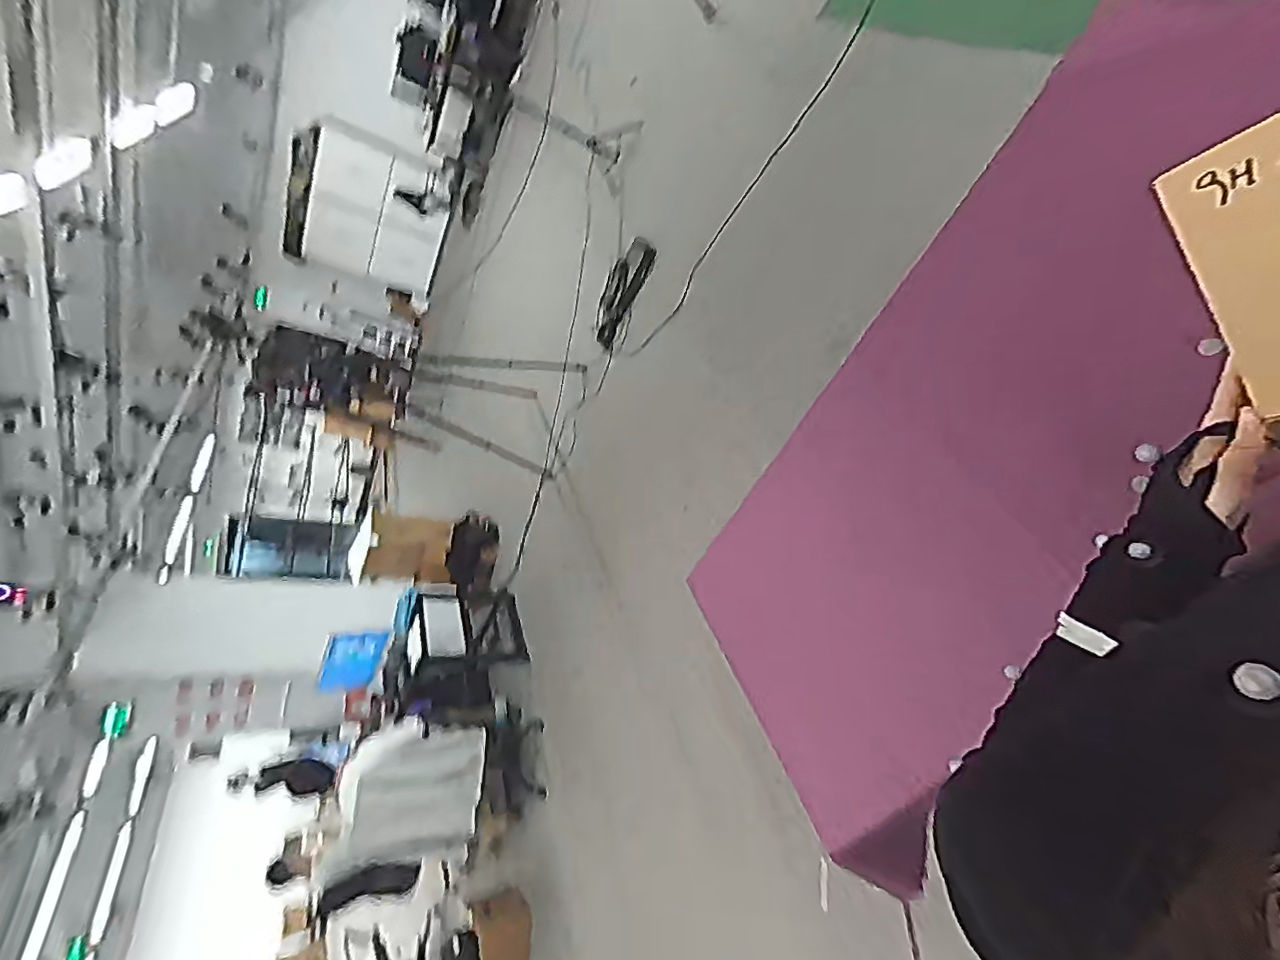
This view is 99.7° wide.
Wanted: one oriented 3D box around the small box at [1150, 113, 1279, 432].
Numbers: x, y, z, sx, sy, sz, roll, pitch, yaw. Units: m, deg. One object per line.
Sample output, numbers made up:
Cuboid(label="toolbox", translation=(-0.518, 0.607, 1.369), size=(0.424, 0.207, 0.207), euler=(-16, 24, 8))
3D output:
Cuboid(label="small box", translation=(0.462, -0.134, 0.328), size=(0.168, 0.176, 0.179), euler=(-24, 68, 49))
